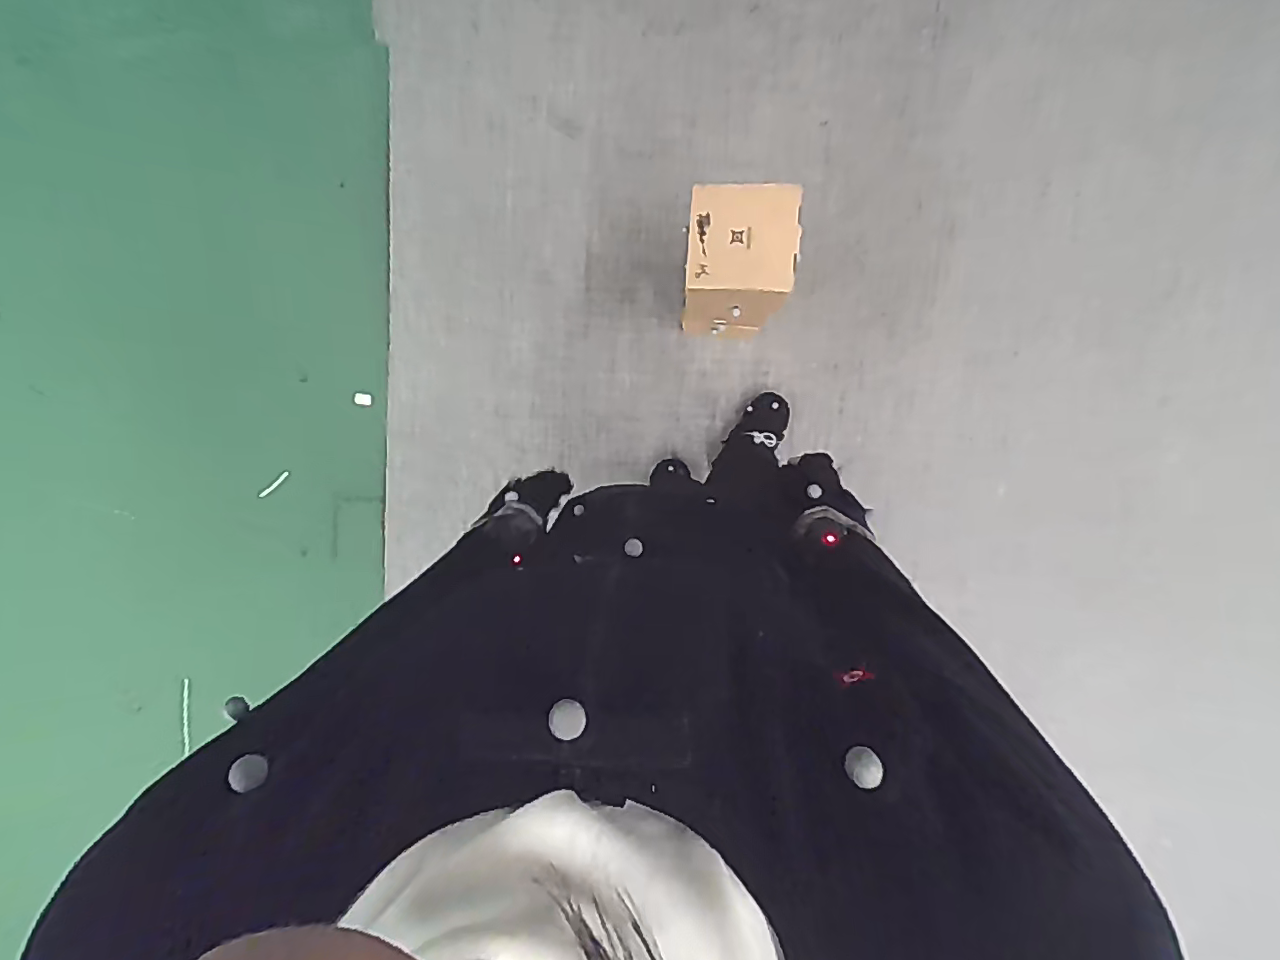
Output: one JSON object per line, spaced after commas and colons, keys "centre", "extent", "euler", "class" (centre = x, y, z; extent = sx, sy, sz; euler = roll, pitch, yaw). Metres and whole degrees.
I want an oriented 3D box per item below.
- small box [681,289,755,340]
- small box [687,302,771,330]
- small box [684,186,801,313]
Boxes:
{"centre": [0.196, -0.431, 1.282], "extent": [0.179, 0.176, 0.168], "euler": [7, 97, 6], "class": "small box"}
{"centre": [0.189, -0.419, 1.121], "extent": [0.168, 0.176, 0.179], "euler": [5, 97, 8], "class": "small box"}
{"centre": [0.175, -0.398, 0.958], "extent": [0.179, 0.176, 0.168], "euler": [5, 96, 7], "class": "small box"}
